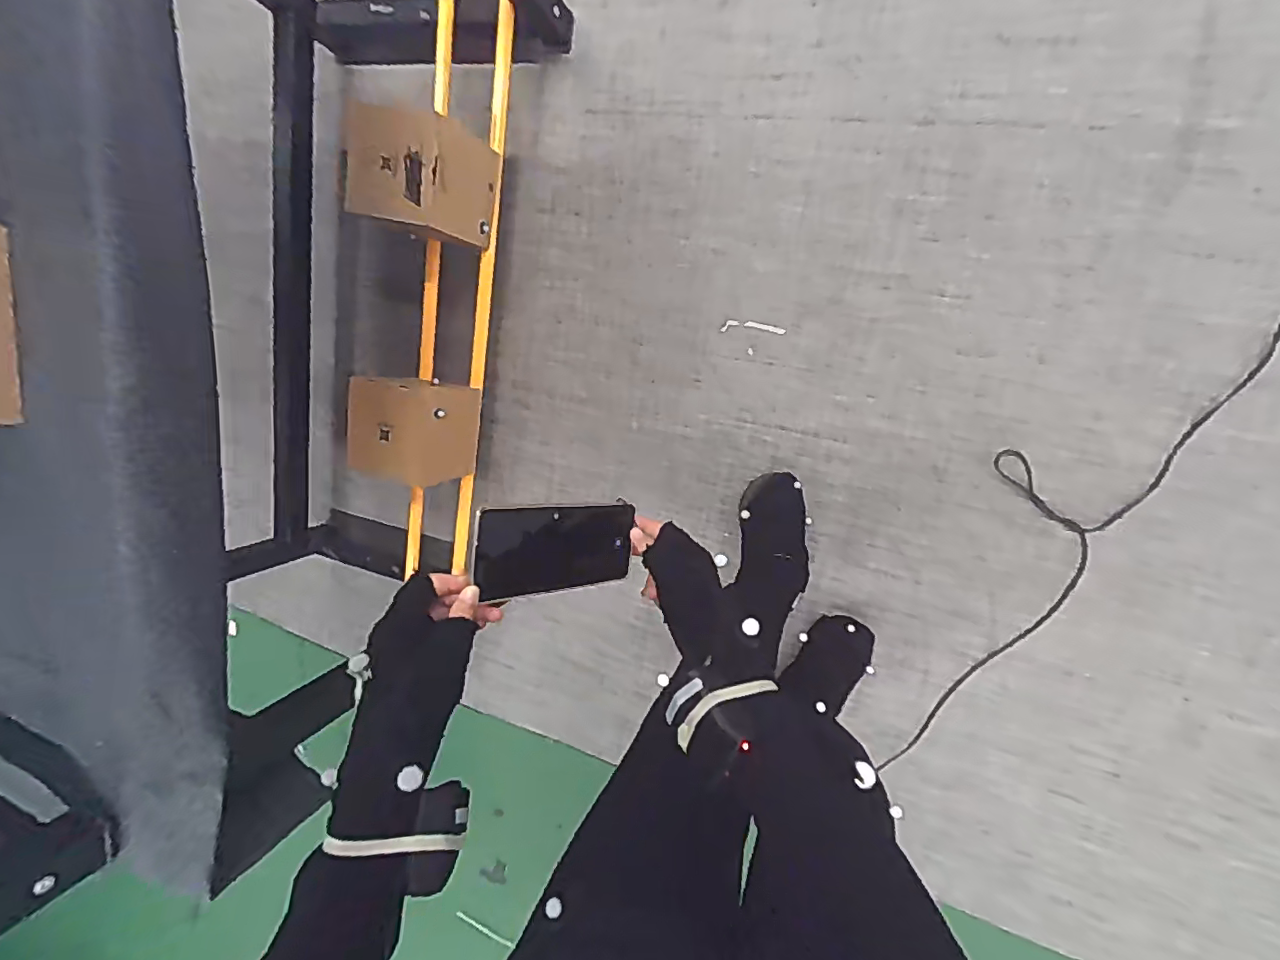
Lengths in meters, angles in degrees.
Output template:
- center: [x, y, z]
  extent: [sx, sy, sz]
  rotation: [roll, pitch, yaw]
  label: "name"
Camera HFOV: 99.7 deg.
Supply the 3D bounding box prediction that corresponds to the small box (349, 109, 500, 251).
- center: [-0.367, -0.509, 0.941]
  extent: [0.179, 0.176, 0.168]
  rotation: [16, 104, 16]
  label: "small box"
